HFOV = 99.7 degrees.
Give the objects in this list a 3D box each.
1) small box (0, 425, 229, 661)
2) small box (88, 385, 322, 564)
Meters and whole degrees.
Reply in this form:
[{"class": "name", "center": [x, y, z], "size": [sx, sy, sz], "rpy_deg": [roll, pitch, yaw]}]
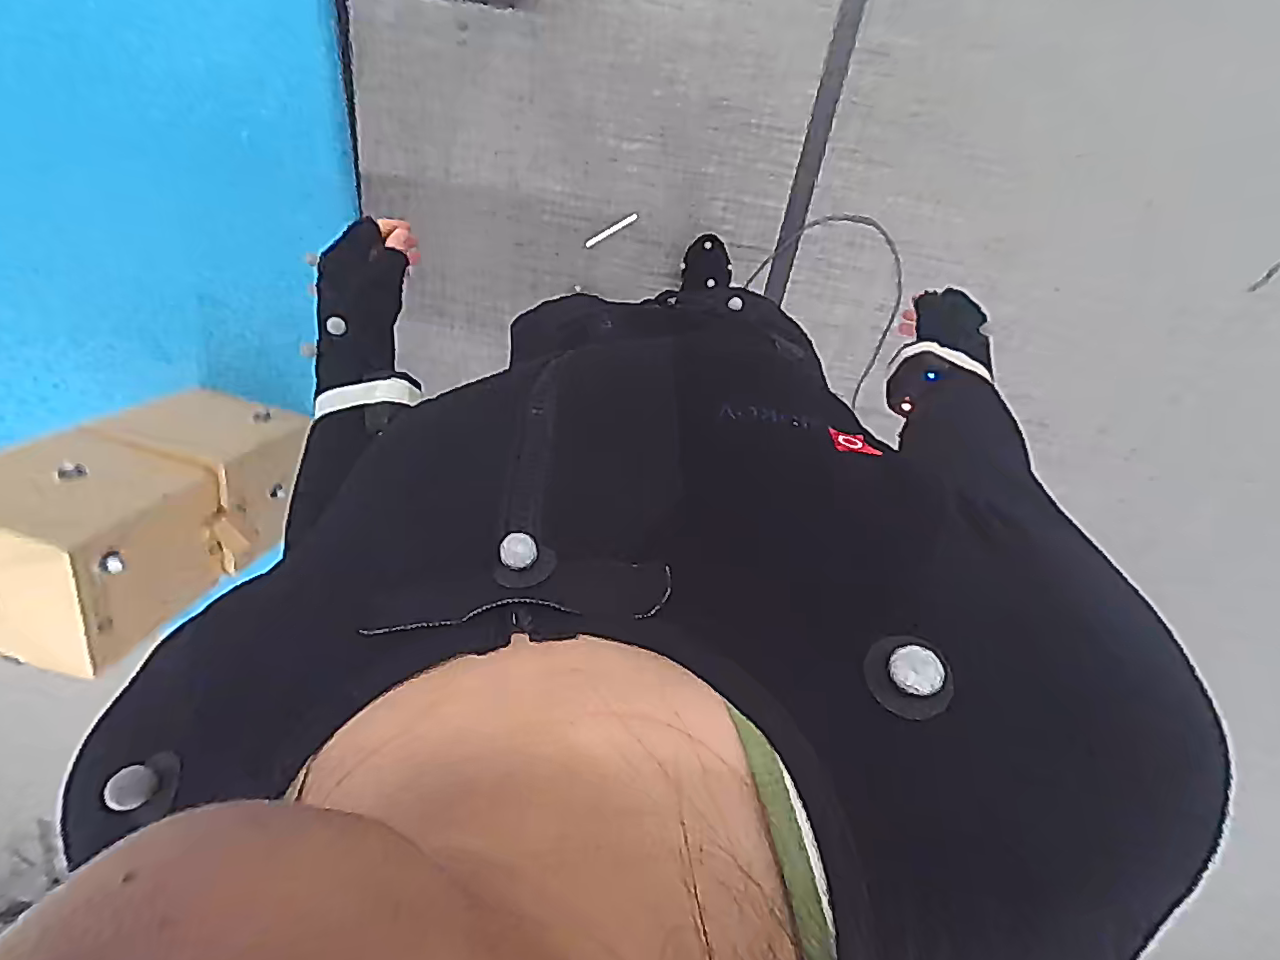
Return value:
[{"class": "small box", "center": [-0.594, 0.065, 0.582], "size": [0.179, 0.176, 0.168], "rpy_deg": [17, 116, -3]}, {"class": "small box", "center": [-0.565, -0.009, 0.726], "size": [0.179, 0.176, 0.168], "rpy_deg": [14, 116, -1]}]
